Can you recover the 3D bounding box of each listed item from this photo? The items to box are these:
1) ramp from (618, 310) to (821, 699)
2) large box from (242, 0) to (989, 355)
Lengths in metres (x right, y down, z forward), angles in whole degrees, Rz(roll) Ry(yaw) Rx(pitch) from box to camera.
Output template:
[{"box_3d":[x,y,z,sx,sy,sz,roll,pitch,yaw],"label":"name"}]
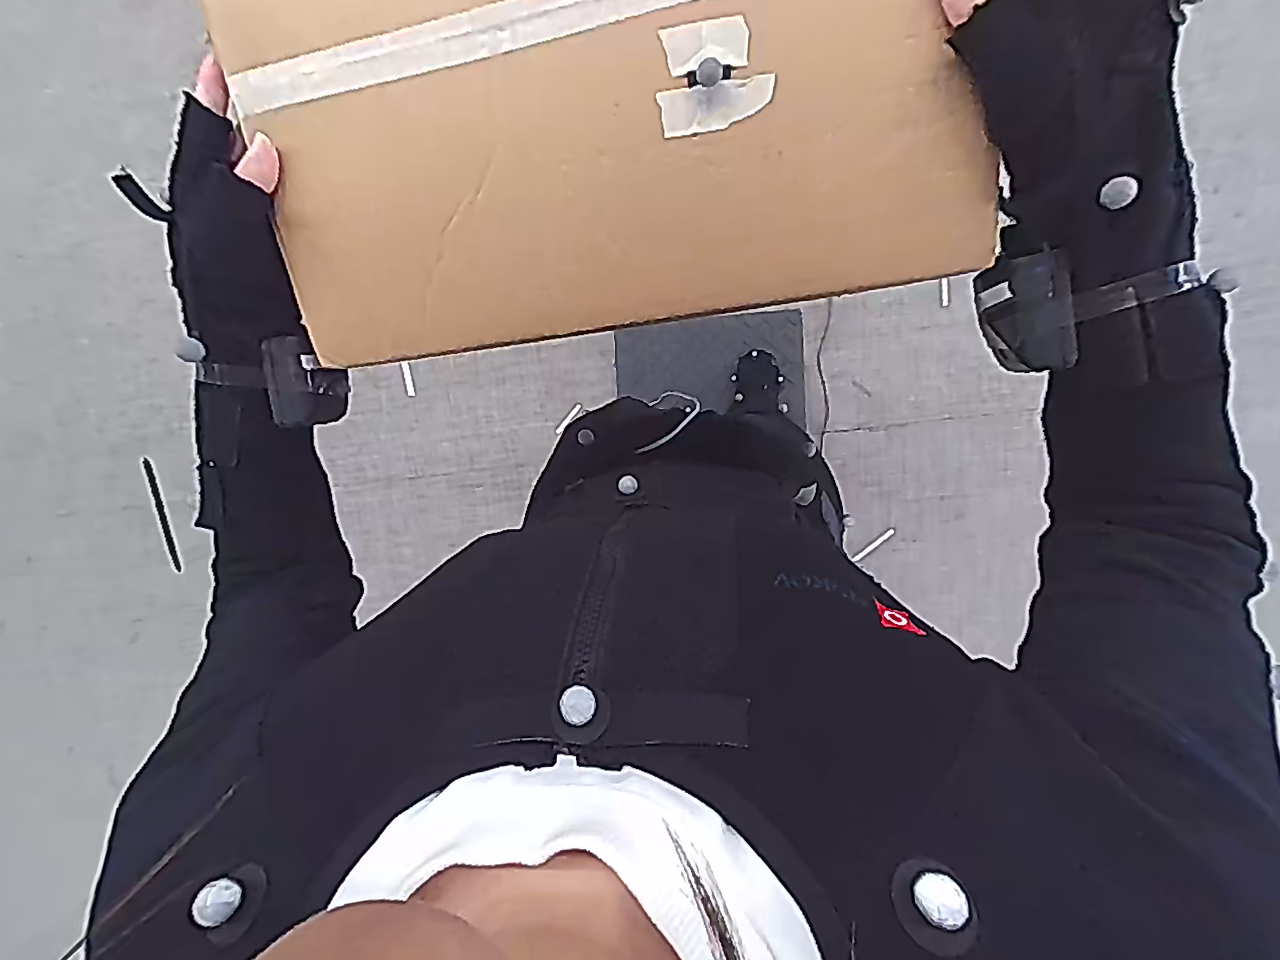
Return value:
[{"box_3d":[0.198,0.072,1.425,0.509,0.206,0.991,-4,99,11],"label":"ramp"},{"box_3d":[-0.010,-0.296,0.429,0.408,0.320,0.320,-6,107,10],"label":"large box"}]
